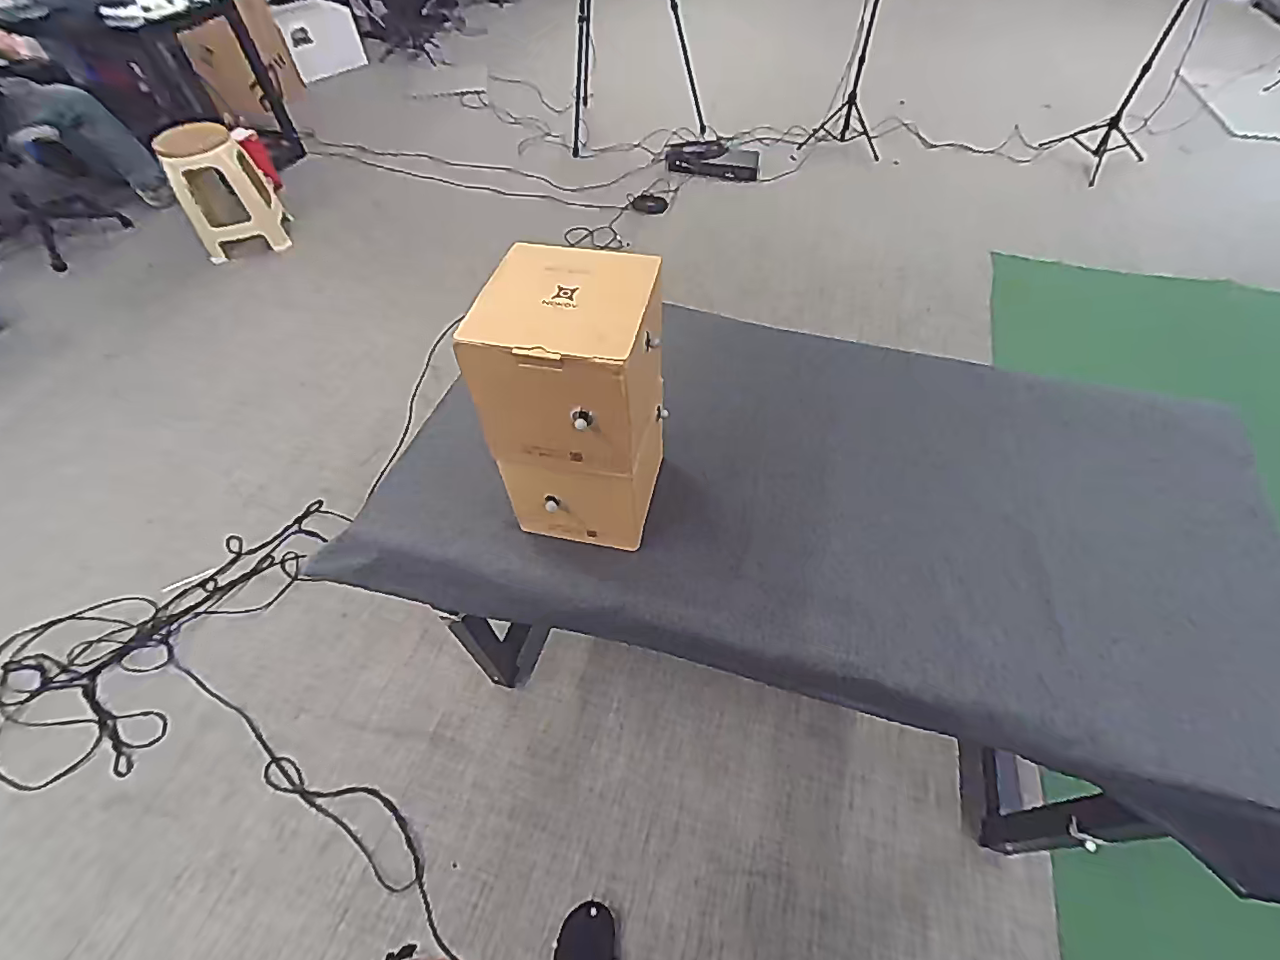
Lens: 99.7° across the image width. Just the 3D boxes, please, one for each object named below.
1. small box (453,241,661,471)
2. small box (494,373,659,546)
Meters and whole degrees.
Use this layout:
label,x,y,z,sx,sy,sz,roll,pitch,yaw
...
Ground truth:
label,x,y,z,sx,sy,sz,roll,pitch,yaw
small box,-0.074,-0.131,0.590,0.168,0.176,0.179,10,52,6
small box,-0.070,-0.034,0.720,0.168,0.176,0.179,10,53,8
